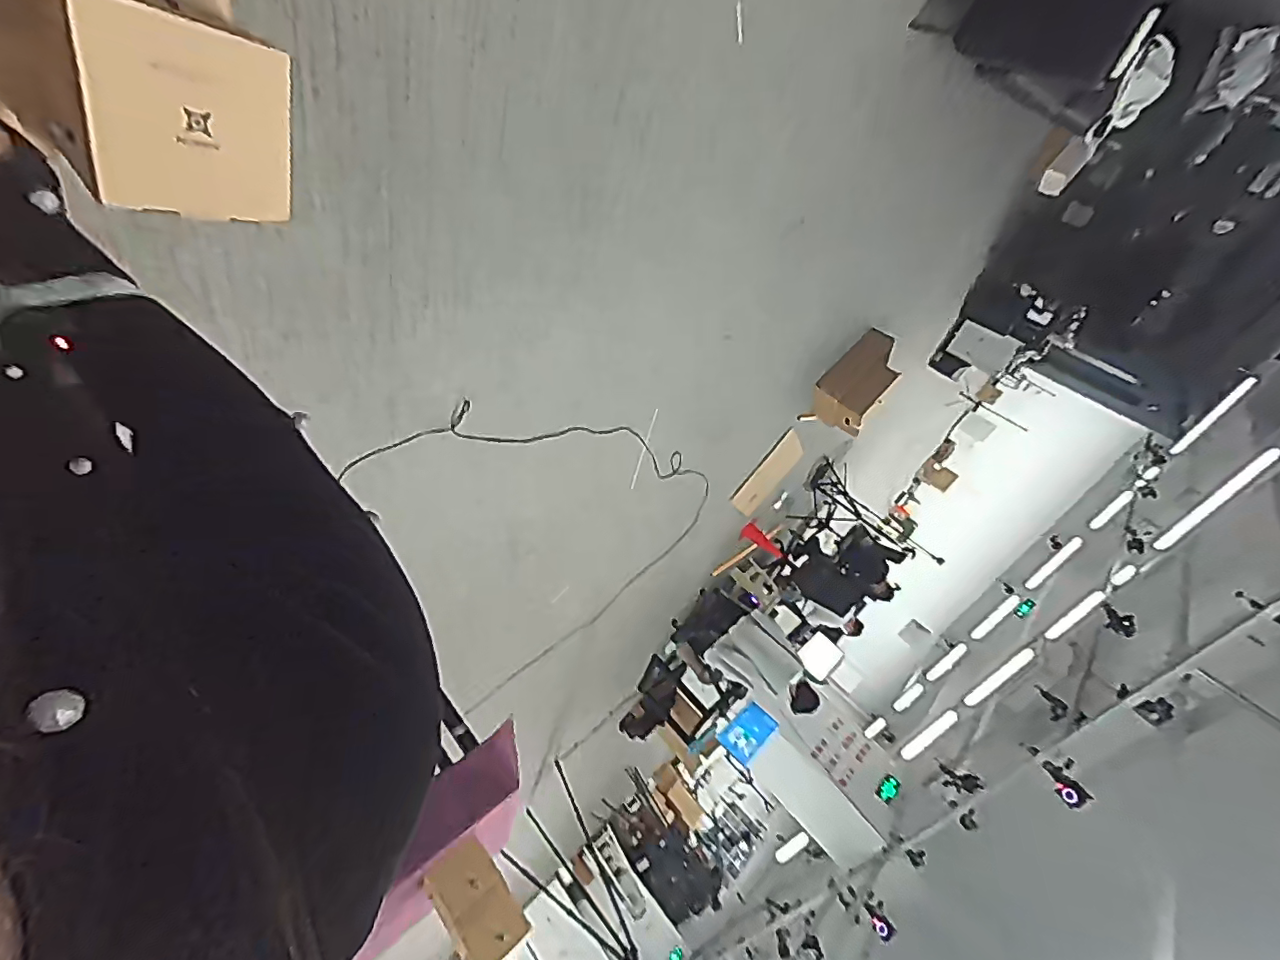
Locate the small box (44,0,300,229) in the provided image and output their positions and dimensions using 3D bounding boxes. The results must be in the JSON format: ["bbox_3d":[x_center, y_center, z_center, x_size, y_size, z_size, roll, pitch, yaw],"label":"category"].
[{"bbox_3d":[-0.486,-0.395,0.572,0.168,0.176,0.179,-18,139,-48],"label":"small box"}]

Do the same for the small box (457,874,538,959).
[{"bbox_3d":[-0.439,1.360,1.647,0.179,0.176,0.168,-24,145,-42],"label":"small box"}]

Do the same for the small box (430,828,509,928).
[{"bbox_3d":[-0.545,1.261,1.723,0.179,0.176,0.168,-22,143,-41],"label":"small box"}]
